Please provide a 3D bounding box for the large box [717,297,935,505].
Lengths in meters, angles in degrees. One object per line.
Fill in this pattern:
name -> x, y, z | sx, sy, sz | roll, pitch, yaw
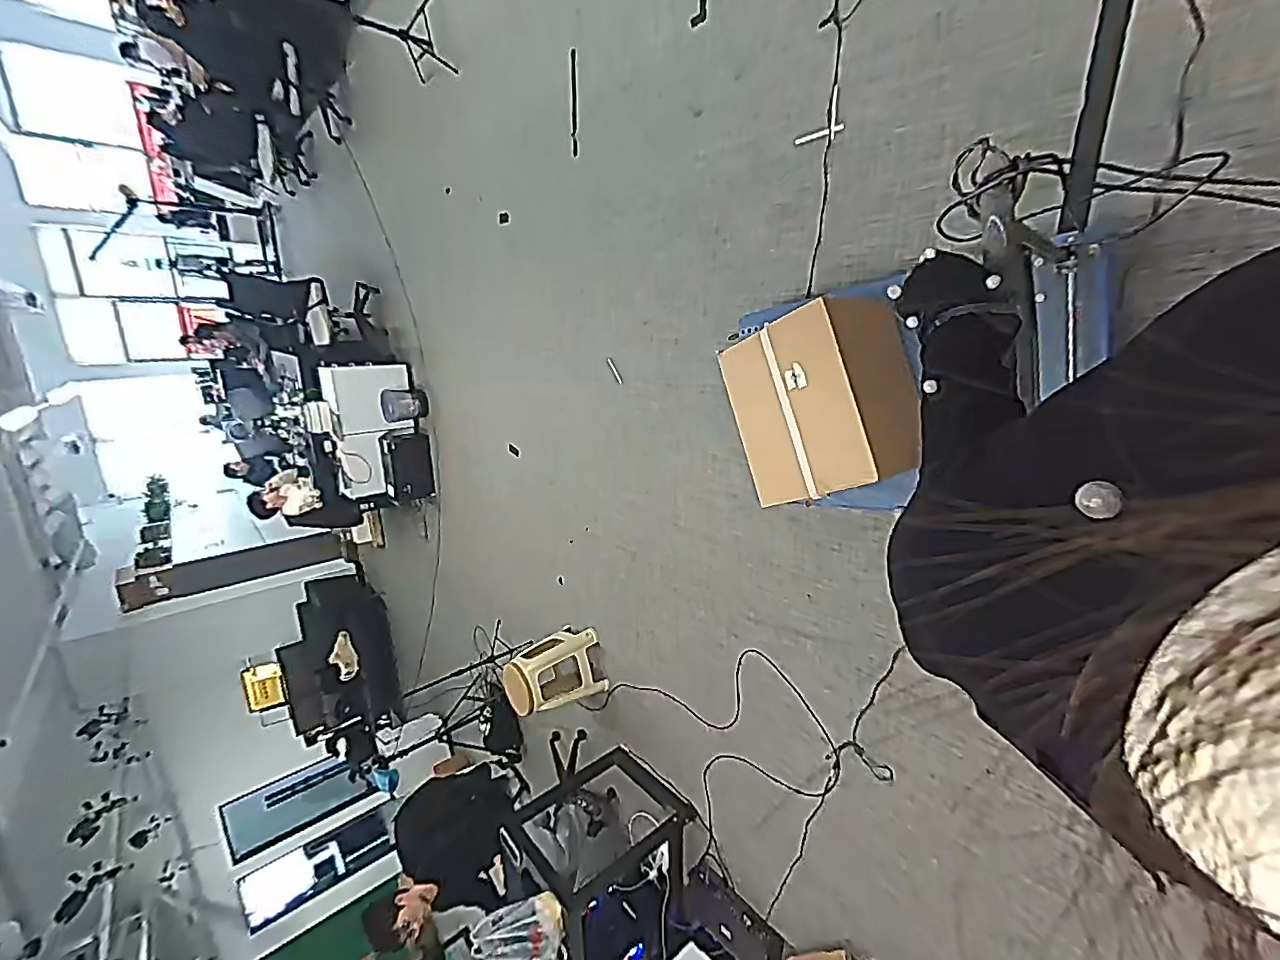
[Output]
large box -> 0.450, -0.184, 1.318 | 0.320, 0.320, 0.408 | -20, 84, 50
